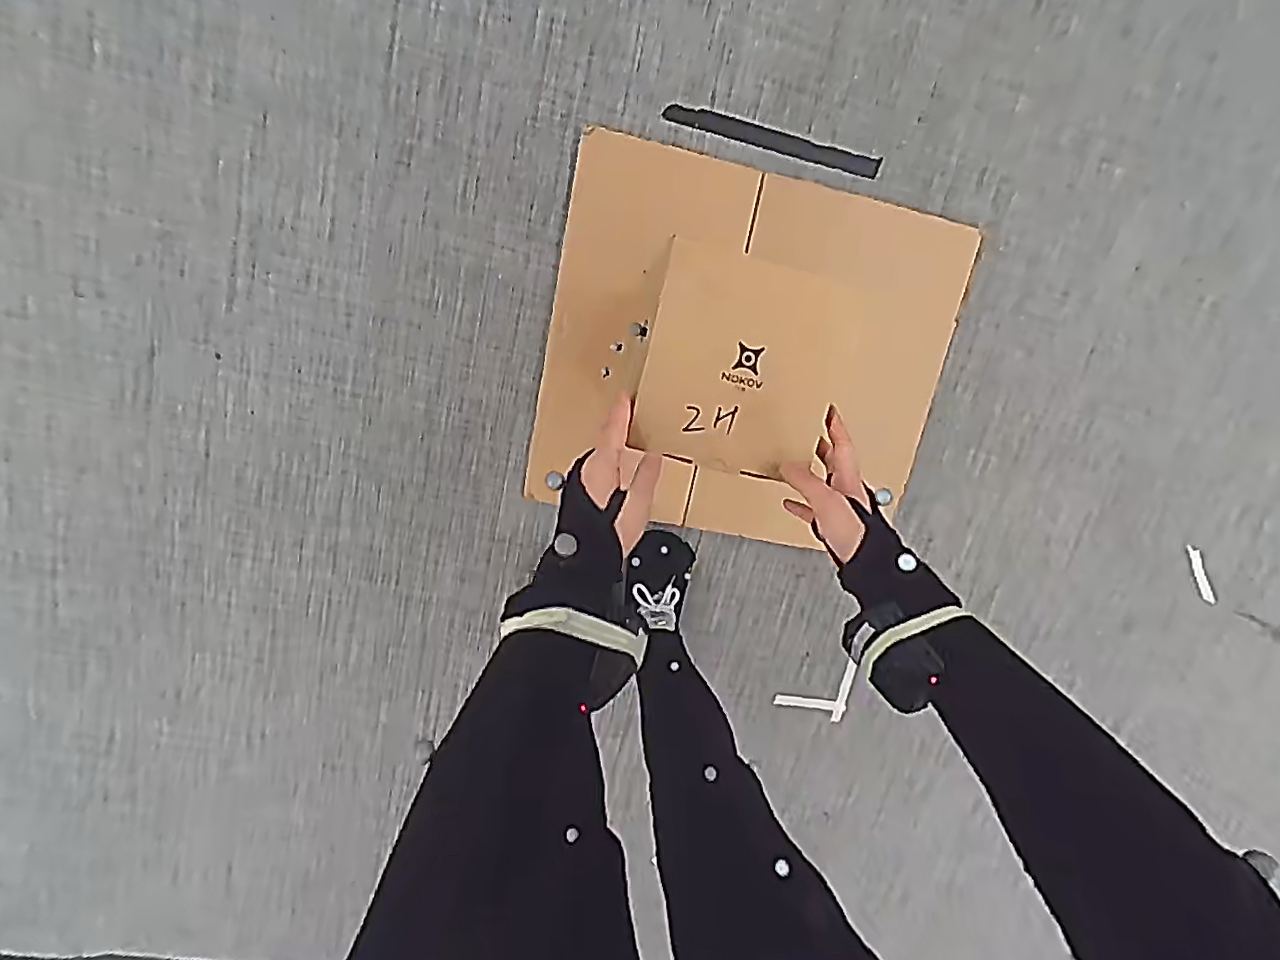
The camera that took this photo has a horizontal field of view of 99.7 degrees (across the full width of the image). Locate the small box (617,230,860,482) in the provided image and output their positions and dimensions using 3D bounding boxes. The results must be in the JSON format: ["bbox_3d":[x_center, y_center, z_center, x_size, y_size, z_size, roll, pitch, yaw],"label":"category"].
[{"bbox_3d":[0.076,-0.116,0.526,0.168,0.176,0.179,12,103,-9],"label":"small box"}]
